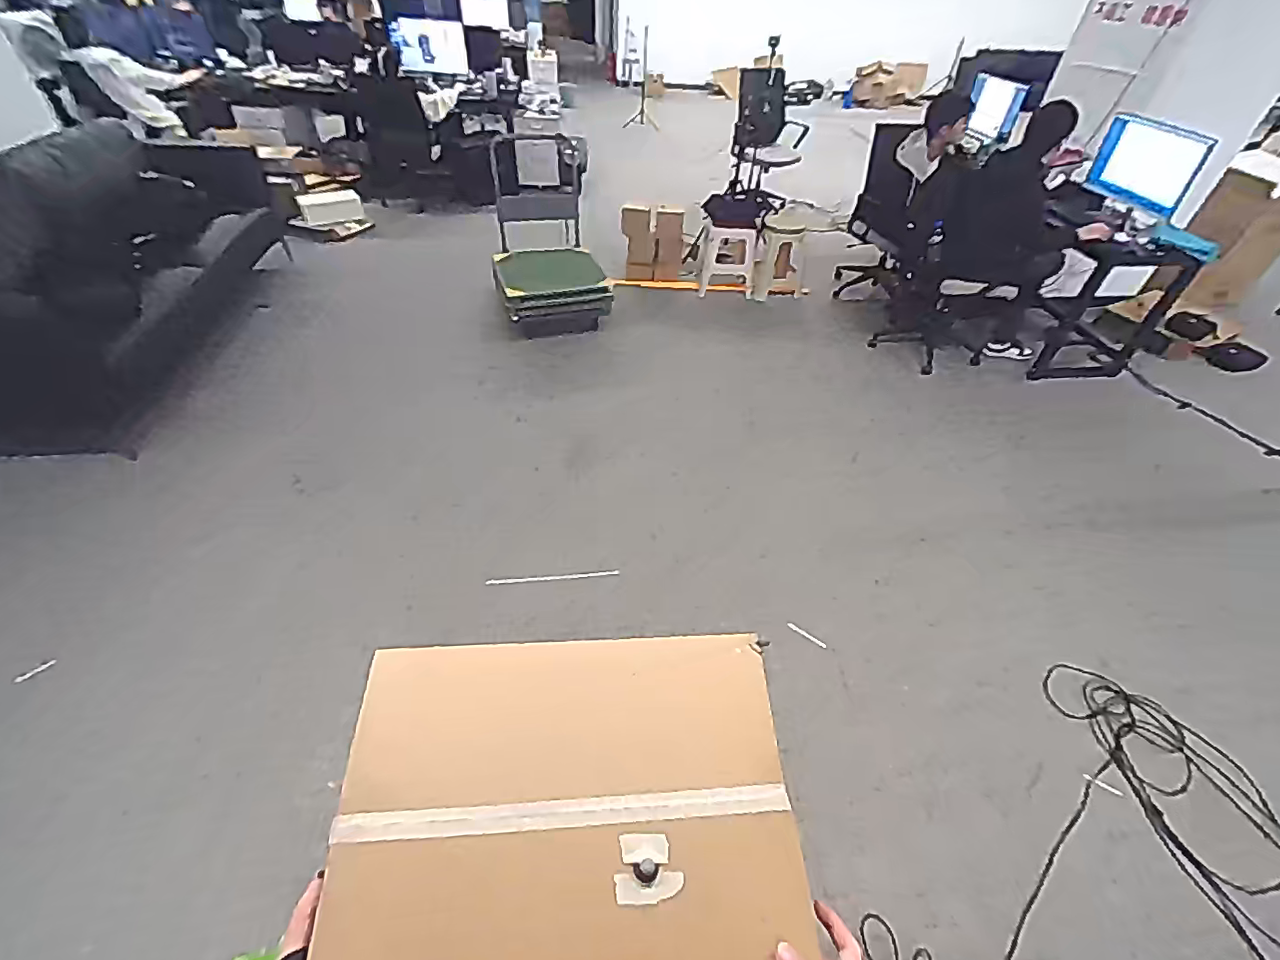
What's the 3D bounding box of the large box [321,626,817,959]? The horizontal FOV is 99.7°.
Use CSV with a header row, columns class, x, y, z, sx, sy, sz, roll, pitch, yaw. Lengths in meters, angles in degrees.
class,x,y,z,sx,sy,sz,roll,pitch,yaw
large box,-0.072,0.381,0.621,0.408,0.320,0.320,-1,55,-5
